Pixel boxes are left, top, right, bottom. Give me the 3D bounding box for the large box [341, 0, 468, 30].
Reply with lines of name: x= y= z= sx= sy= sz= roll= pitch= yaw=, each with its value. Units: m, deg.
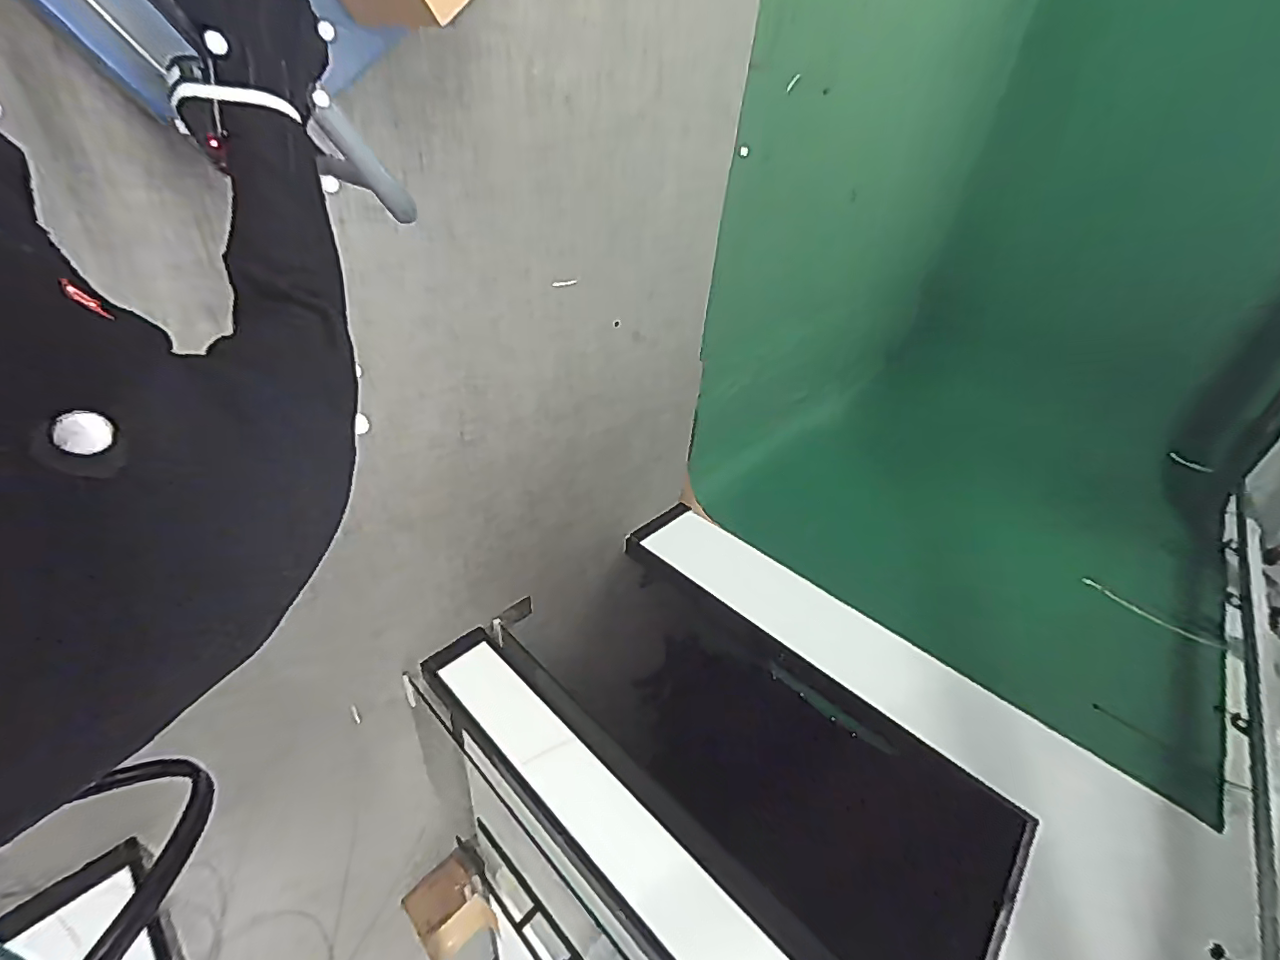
large box: x=-0.410 y=-0.978 z=0.790 sx=0.320 sy=0.320 sz=0.408 roll=-54 pitch=147 yaw=-6
